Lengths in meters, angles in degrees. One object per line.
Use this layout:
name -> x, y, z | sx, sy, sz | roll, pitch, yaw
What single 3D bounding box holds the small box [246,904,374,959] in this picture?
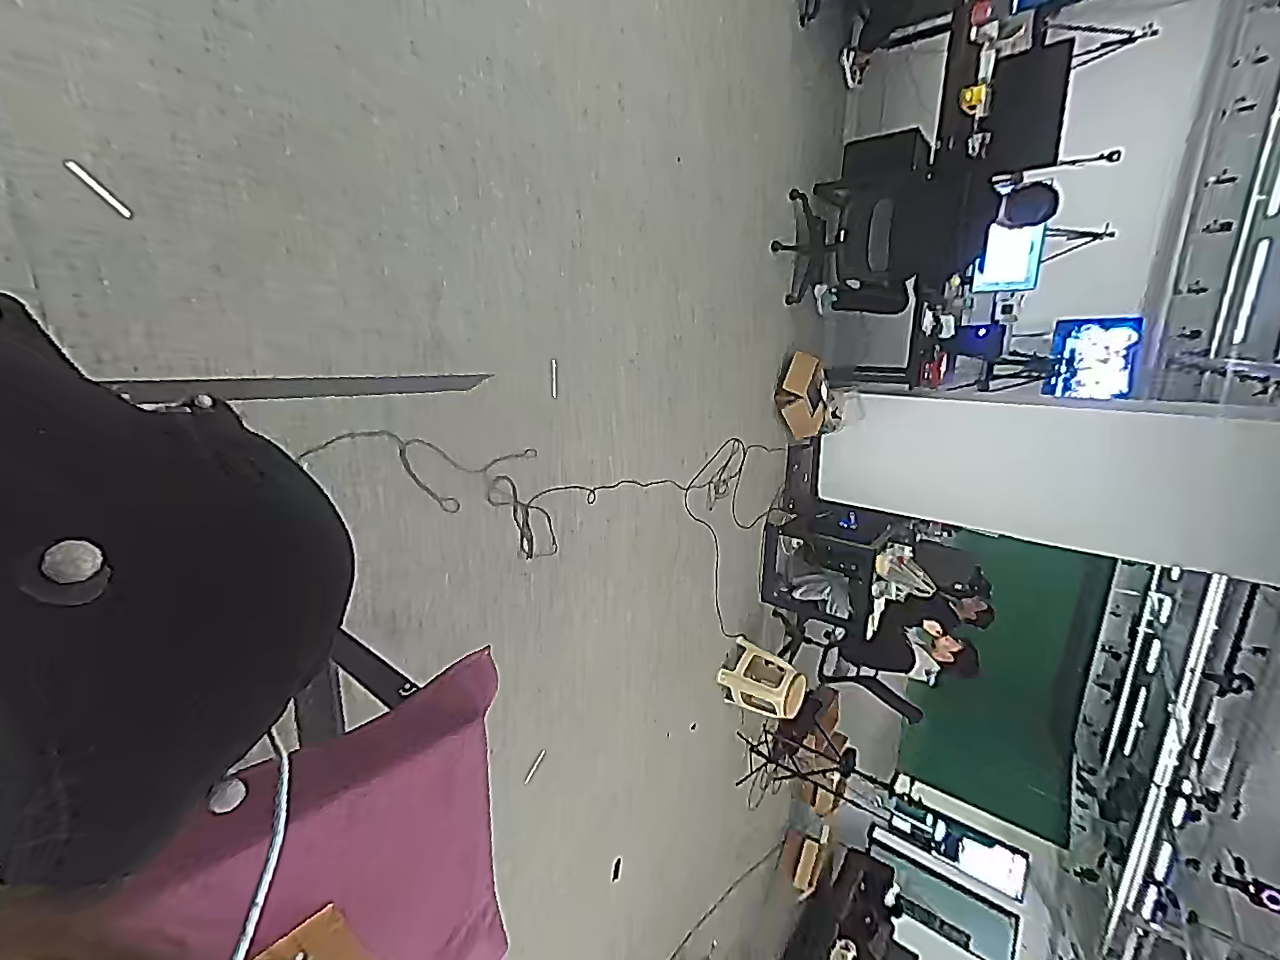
small box -> -0.482, 0.786, 0.787 | 0.168, 0.176, 0.179 | -17, 112, -48
